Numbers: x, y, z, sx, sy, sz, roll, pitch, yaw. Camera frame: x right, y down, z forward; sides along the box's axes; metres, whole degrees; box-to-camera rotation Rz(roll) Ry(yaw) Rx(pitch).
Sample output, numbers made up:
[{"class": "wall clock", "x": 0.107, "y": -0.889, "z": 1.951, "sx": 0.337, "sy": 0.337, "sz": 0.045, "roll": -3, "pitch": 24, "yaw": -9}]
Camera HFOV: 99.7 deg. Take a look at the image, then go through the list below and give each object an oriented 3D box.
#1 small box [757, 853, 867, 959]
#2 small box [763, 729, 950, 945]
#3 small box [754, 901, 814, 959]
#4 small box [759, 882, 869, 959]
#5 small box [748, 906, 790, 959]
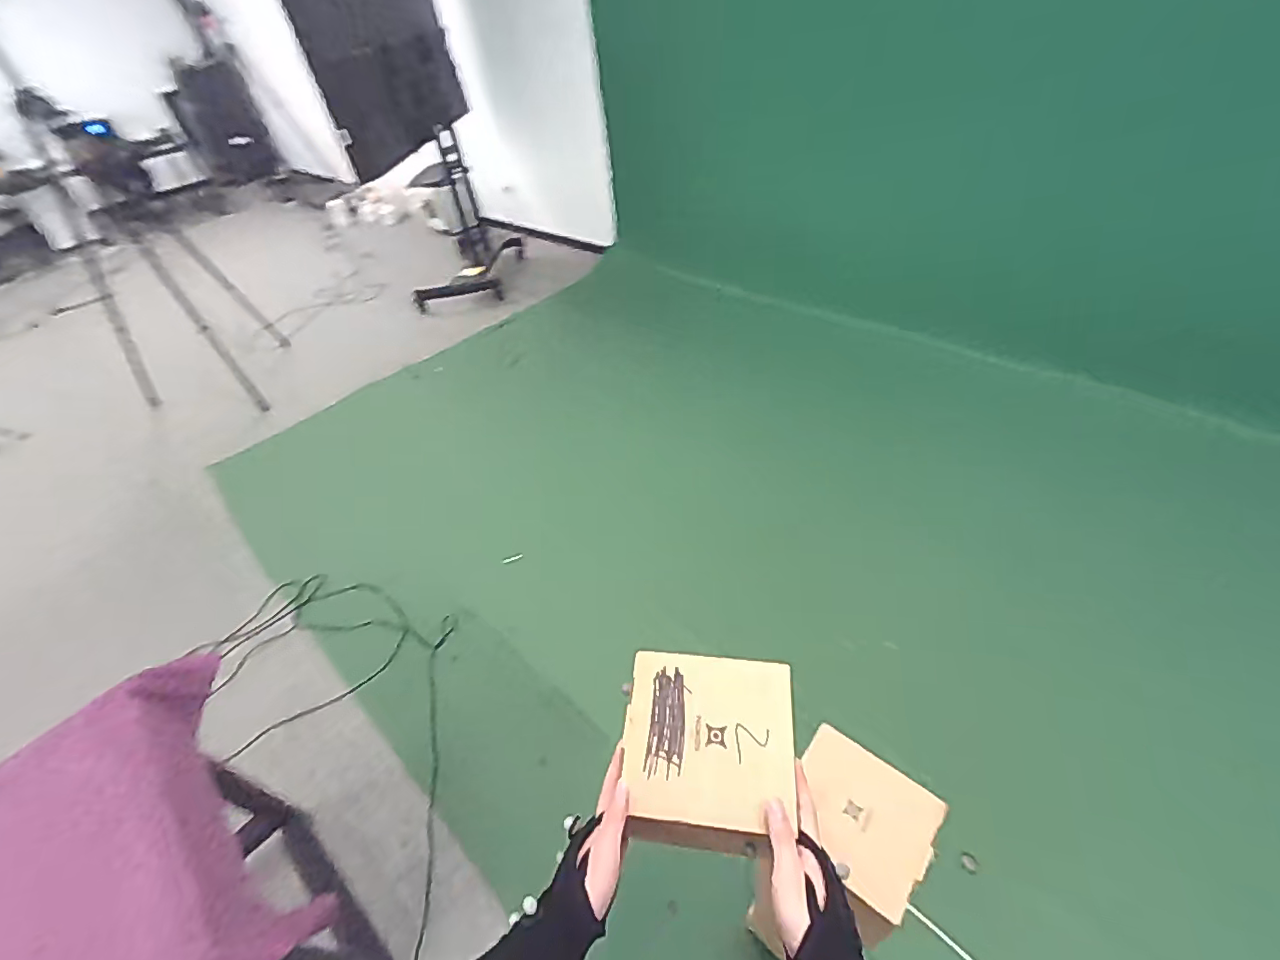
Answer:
[{"class": "small box", "x": 0.303, "y": 0.615, "z": 0.861, "sx": 0.168, "sy": 0.176, "sz": 0.179, "roll": 27, "pitch": 54, "yaw": 32}, {"class": "small box", "x": 0.289, "y": 0.495, "z": 0.750, "sx": 0.179, "sy": 0.176, "sz": 0.168, "roll": 27, "pitch": 52, "yaw": 33}, {"class": "small box", "x": 0.344, "y": 0.859, "z": 1.075, "sx": 0.179, "sy": 0.176, "sz": 0.168, "roll": 26, "pitch": 53, "yaw": 33}, {"class": "small box", "x": 0.326, "y": 0.737, "z": 0.967, "sx": 0.179, "sy": 0.176, "sz": 0.168, "roll": 26, "pitch": 53, "yaw": 31}, {"class": "small box", "x": 0.355, "y": 0.975, "z": 1.188, "sx": 0.179, "sy": 0.176, "sz": 0.168, "roll": 30, "pitch": 55, "yaw": 34}]
